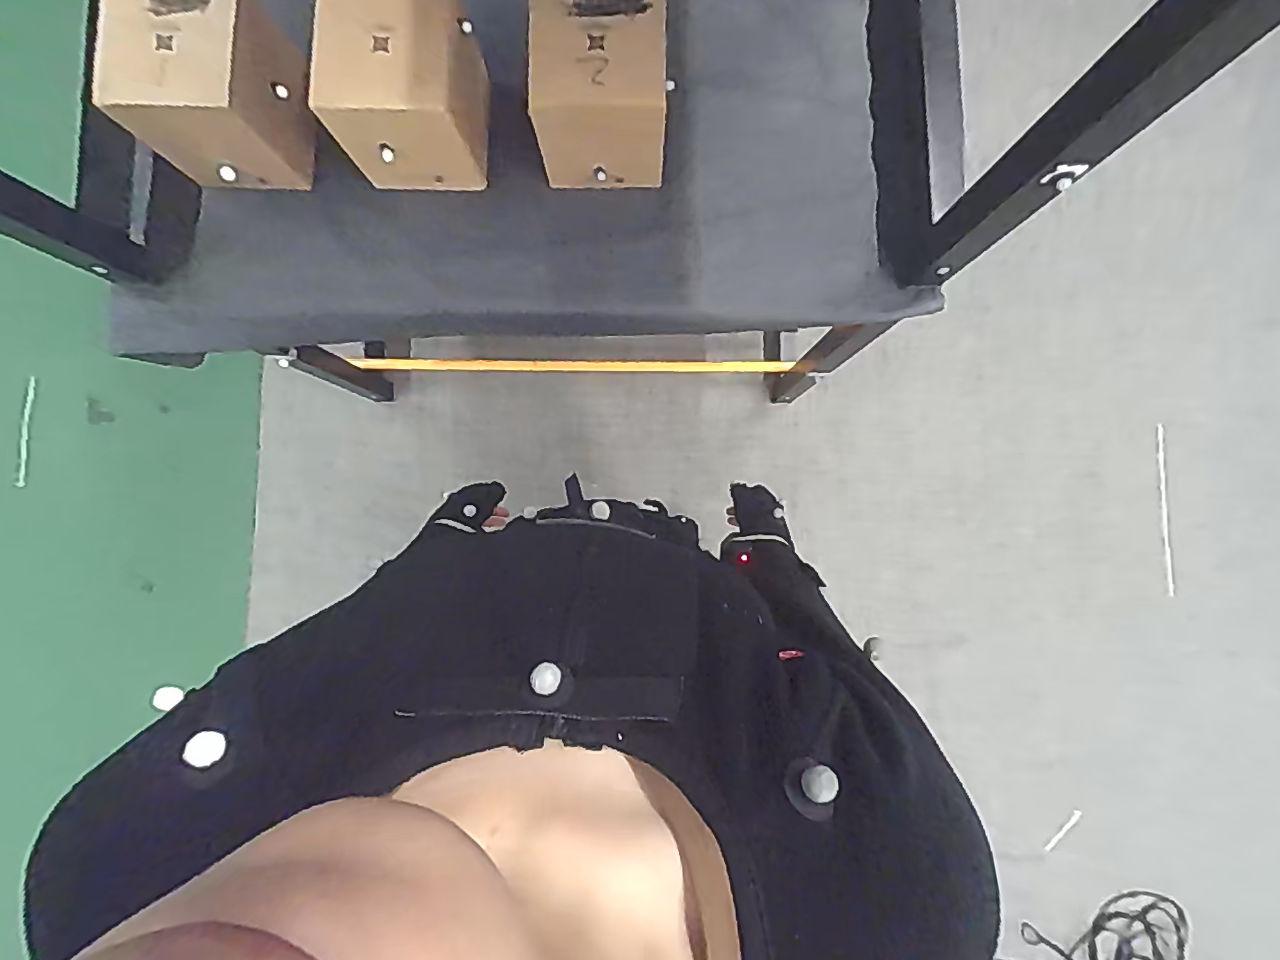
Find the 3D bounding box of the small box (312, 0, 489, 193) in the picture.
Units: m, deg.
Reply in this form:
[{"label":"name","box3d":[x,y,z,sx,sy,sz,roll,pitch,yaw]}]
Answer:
[{"label":"small box","box3d":[-0.310,-0.516,0.732,0.168,0.176,0.179,1,86,0]}]

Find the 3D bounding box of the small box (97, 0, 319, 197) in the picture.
[{"label":"small box","box3d":[-0.563,-0.518,0.730,0.168,0.176,0.179,1,87,0]}]
